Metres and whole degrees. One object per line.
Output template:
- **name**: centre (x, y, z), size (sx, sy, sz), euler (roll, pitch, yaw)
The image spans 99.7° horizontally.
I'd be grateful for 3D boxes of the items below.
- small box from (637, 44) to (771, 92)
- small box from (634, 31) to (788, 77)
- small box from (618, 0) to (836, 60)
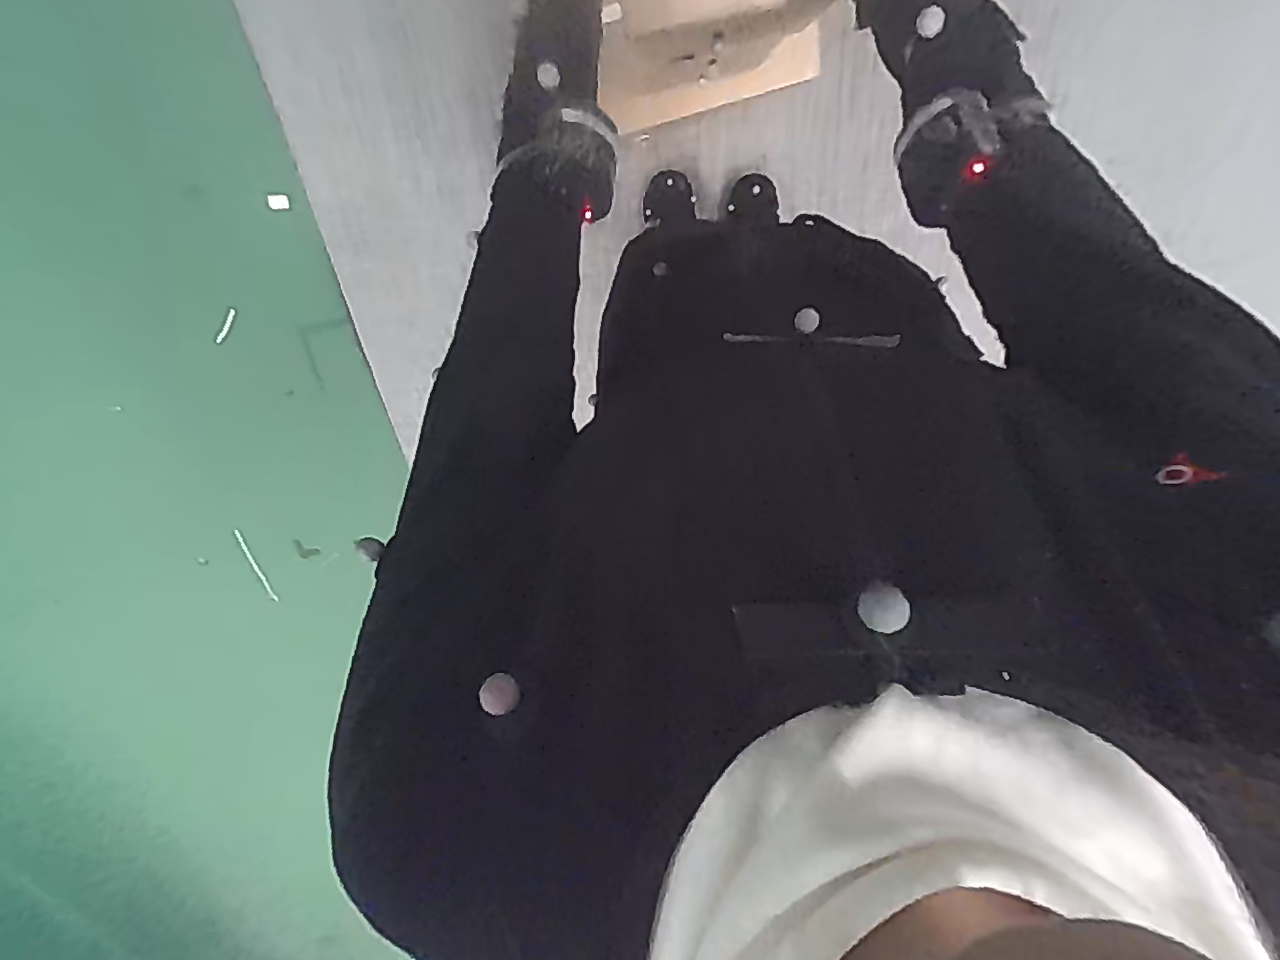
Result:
- **small box**: centre (0.073, -0.647, 0.735), size (0.179, 0.176, 0.168), euler (-9, 121, 7)
- **small box**: centre (0.065, -0.566, 0.593), size (0.168, 0.176, 0.179), euler (-8, 122, 9)
- **small box**: centre (0.064, -0.477, 0.454), size (0.179, 0.176, 0.168), euler (-5, 121, 8)
